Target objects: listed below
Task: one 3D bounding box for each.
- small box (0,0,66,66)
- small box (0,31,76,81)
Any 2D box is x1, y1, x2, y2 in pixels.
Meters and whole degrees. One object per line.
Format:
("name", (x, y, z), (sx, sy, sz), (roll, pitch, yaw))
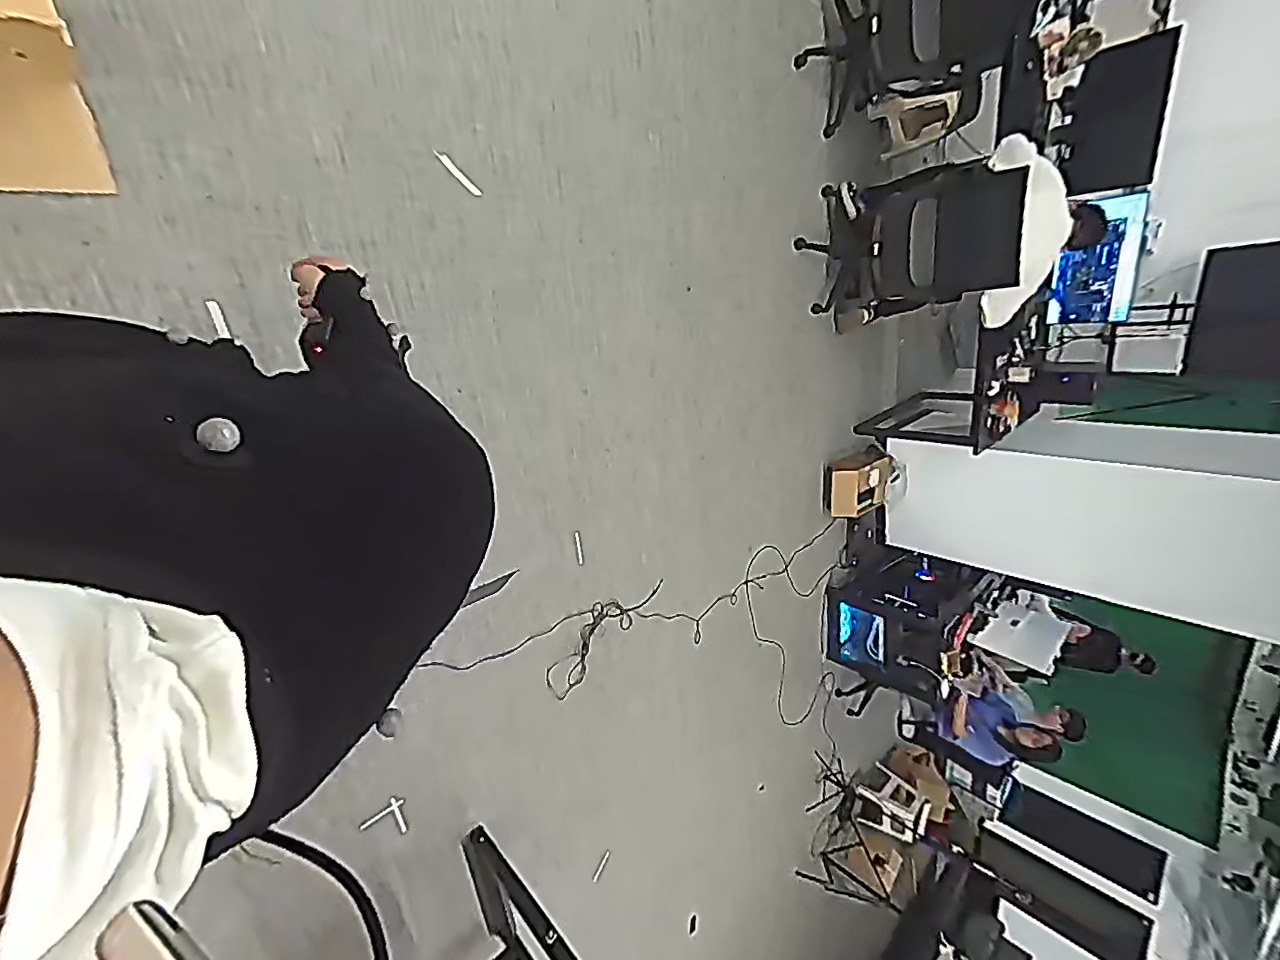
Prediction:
("small box", (-1.016, -0.772, 0.815), (0.168, 0.176, 0.179), (-21, 114, -39))
("small box", (-1.130, -0.809, 0.927), (0.179, 0.176, 0.168), (-32, 120, -34))
